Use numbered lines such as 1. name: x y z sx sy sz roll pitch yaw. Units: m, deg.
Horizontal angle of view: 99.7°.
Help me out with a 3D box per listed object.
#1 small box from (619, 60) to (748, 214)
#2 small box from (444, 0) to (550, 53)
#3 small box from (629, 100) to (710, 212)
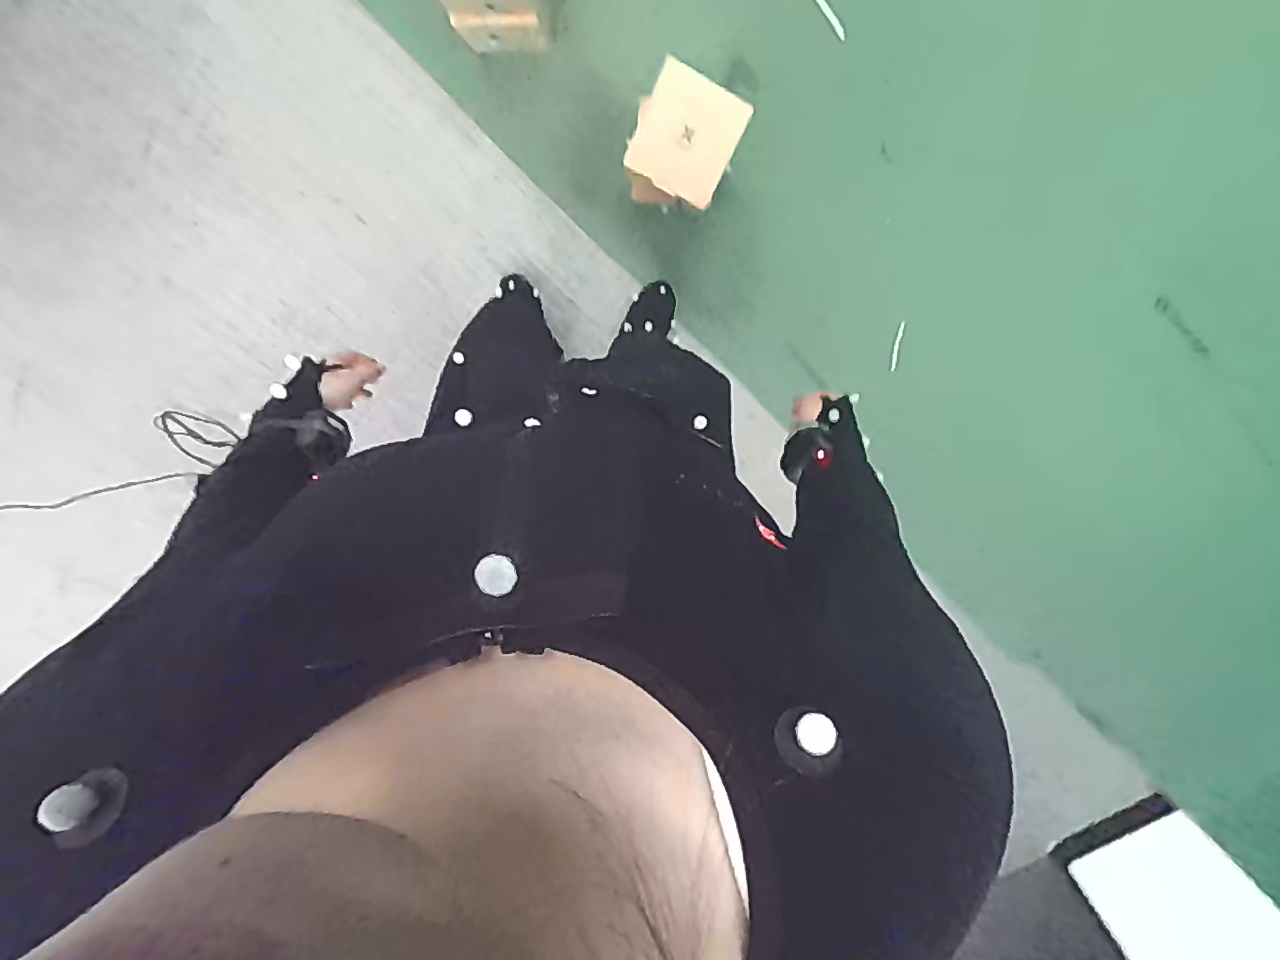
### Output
1. small box: 0.074 -0.610 0.993 0.168 0.176 0.179 24 111 -11
2. small box: -0.271 -0.940 1.029 0.168 0.176 0.179 0 114 1
3. small box: 0.067 -0.673 1.143 0.168 0.176 0.179 6 115 -2
